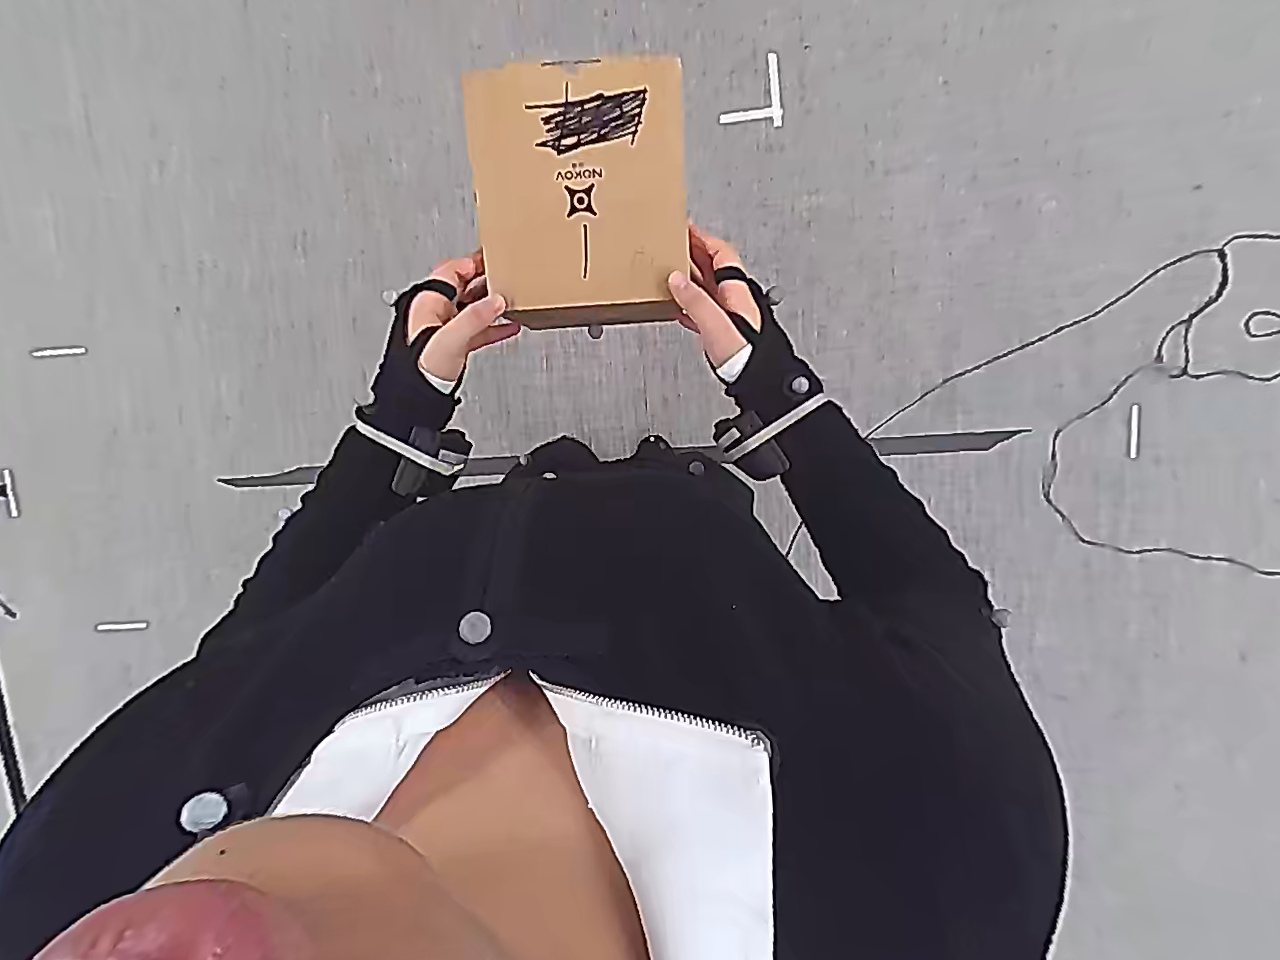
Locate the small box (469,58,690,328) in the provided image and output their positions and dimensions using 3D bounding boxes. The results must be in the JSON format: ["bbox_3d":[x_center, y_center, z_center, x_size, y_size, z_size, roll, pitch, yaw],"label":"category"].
[{"bbox_3d":[-0.045,-0.243,0.500,0.168,0.176,0.179,-4,101,1],"label":"small box"}]
